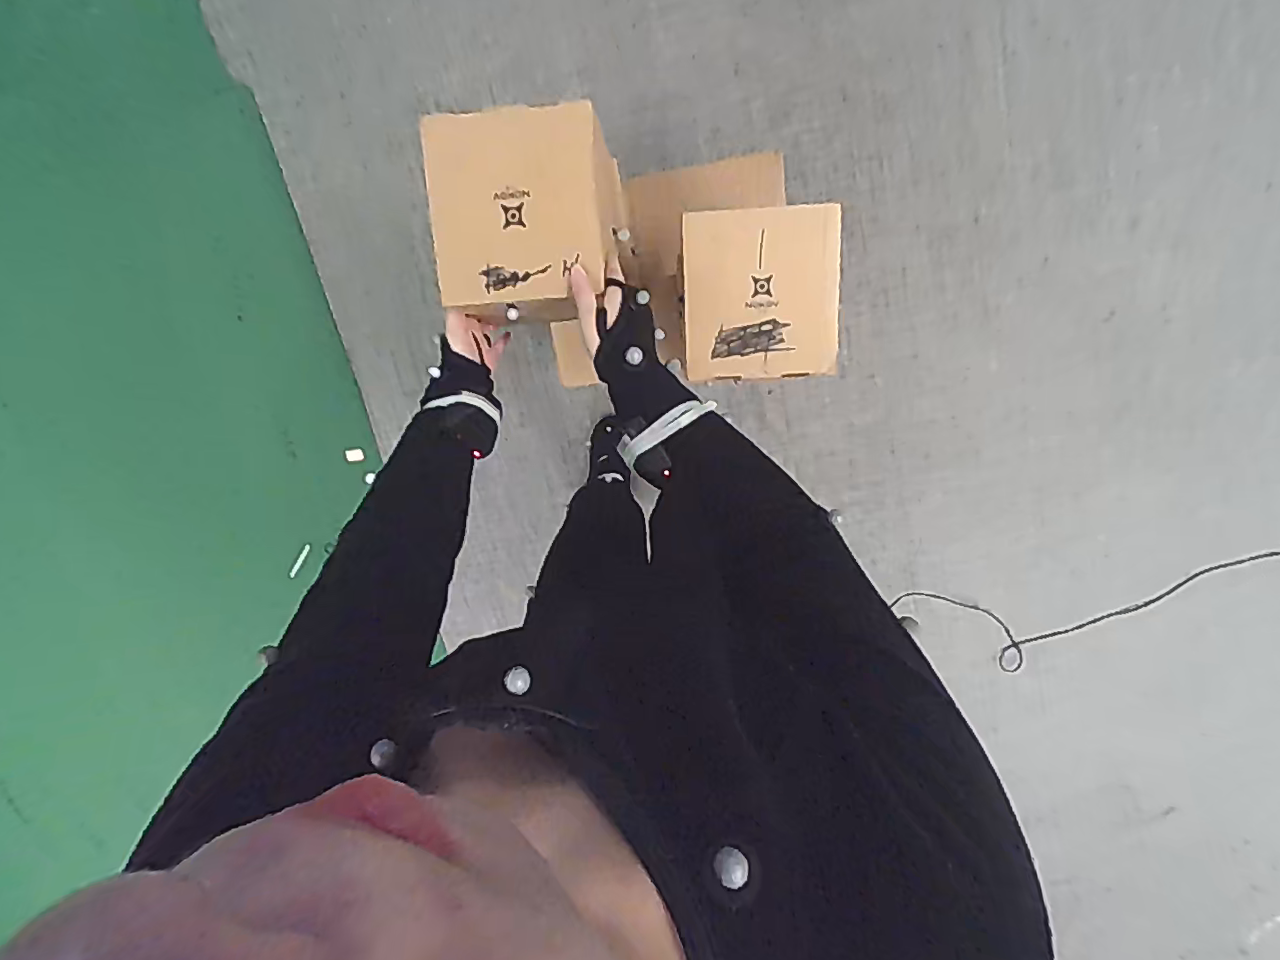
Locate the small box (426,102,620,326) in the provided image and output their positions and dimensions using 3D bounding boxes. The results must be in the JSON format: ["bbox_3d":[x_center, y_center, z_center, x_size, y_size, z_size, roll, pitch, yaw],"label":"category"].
[{"bbox_3d":[-0.115,-0.276,0.600,0.168,0.176,0.179,-2,98,5],"label":"small box"}]

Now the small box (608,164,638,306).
[{"bbox_3d":[-0.099,-0.344,0.809,0.179,0.176,0.168,-8,102,6],"label":"small box"}]

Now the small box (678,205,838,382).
[{"bbox_3d":[0.131,-0.213,0.657,0.168,0.176,0.179,-2,101,4],"label":"small box"}]
